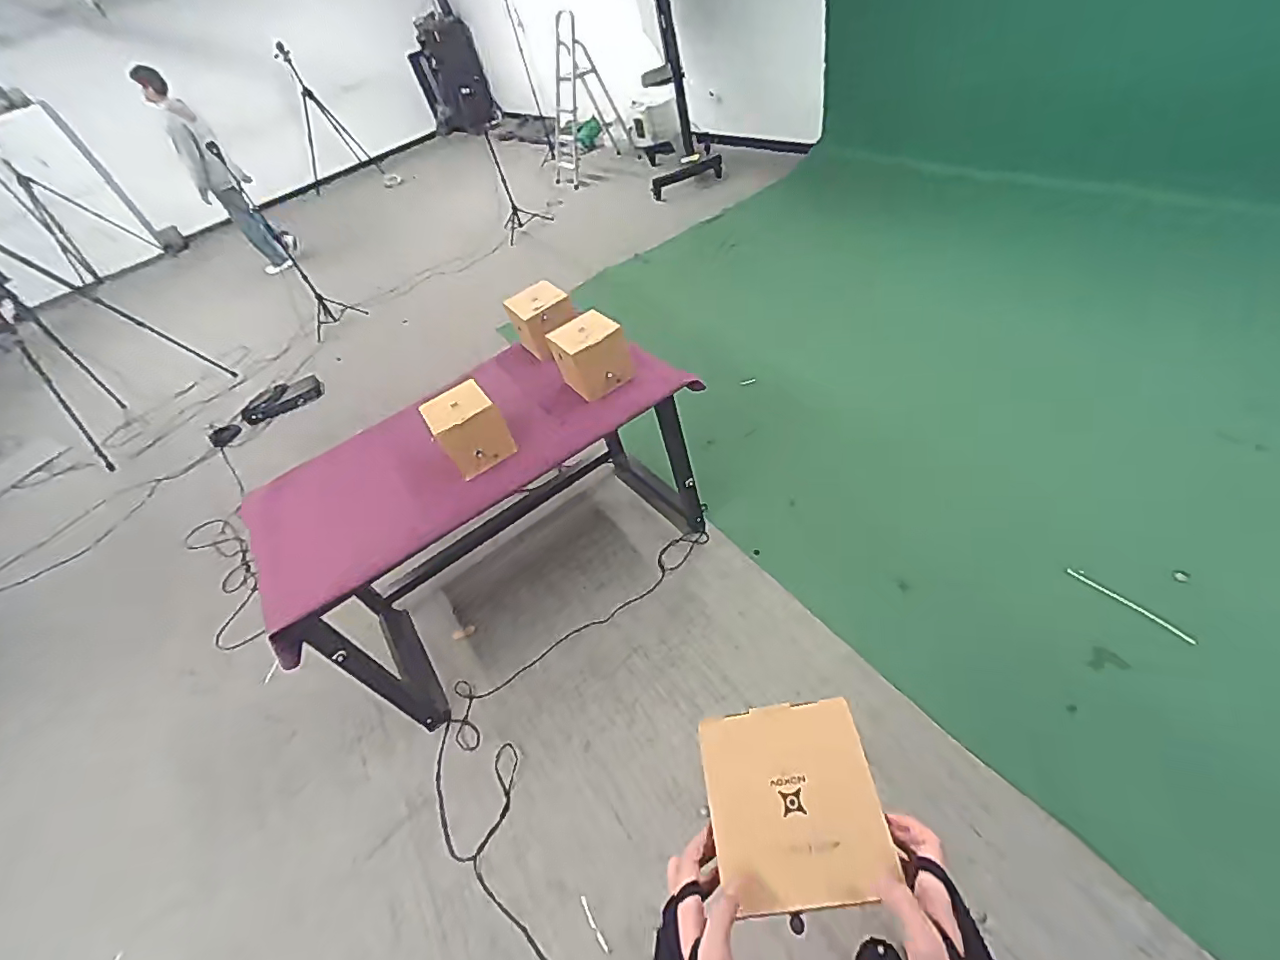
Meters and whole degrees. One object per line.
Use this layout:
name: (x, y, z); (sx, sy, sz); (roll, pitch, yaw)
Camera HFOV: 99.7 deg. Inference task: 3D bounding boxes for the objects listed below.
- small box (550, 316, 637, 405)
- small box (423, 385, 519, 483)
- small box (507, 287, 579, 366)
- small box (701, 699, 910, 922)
small box: (-0.134, -0.344, 1.570); (0.168, 0.176, 0.179); (-33, 44, -13)
small box: (-0.456, -0.123, 1.466); (0.168, 0.176, 0.179); (-32, 45, -14)
small box: (-0.307, -0.505, 1.787); (0.168, 0.176, 0.179); (-35, 48, -13)
small box: (0.165, 0.365, 0.593); (0.168, 0.176, 0.179); (-11, 50, 6)
